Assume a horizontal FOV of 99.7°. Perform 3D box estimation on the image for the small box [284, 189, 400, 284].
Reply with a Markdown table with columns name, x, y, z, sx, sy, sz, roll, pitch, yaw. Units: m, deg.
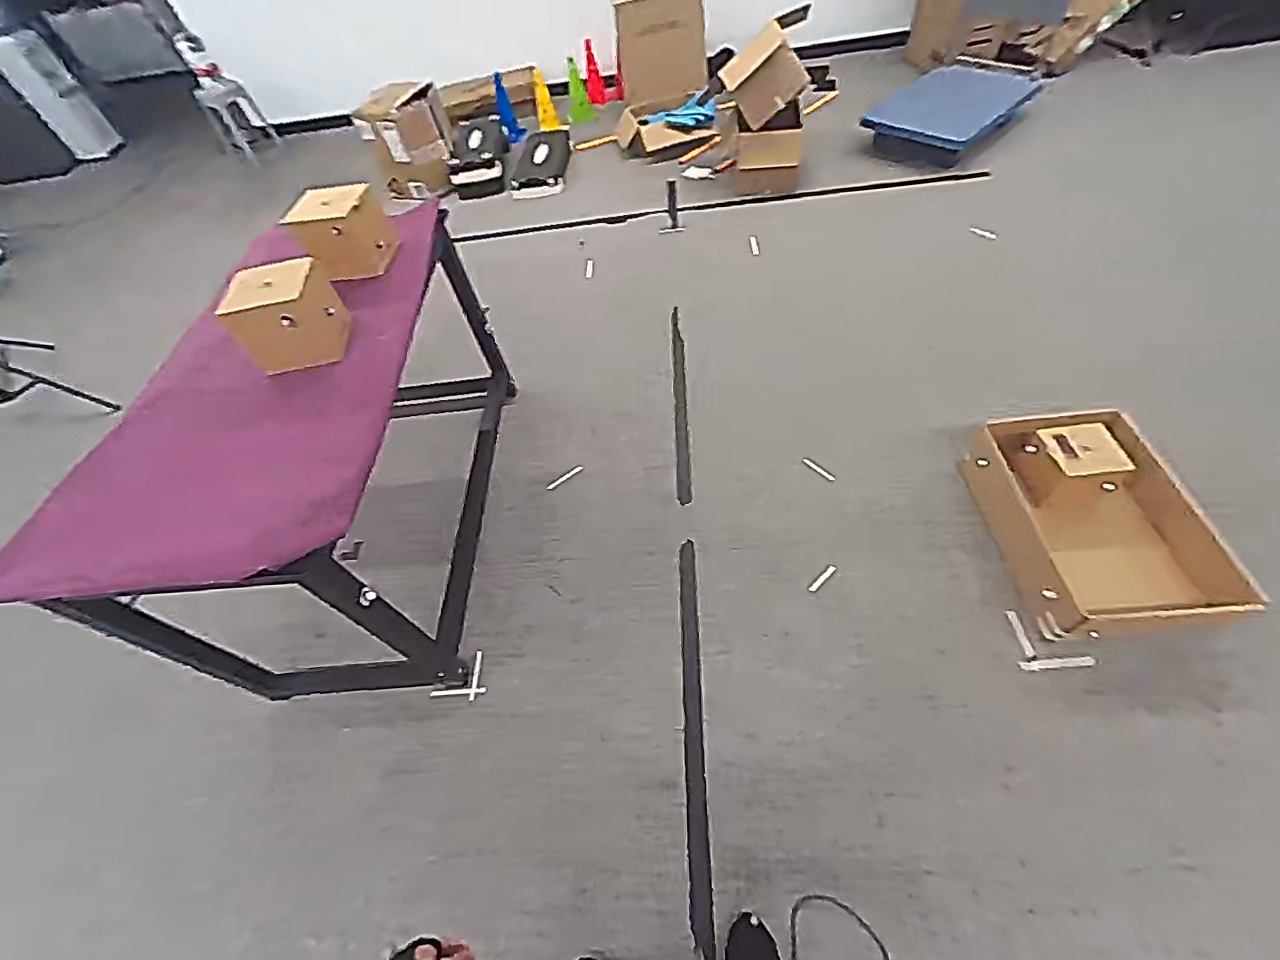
| name | x | y | z | sx | sy | sz | roll | pitch | yaw |
| --- | --- | --- | --- | --- | --- | --- | --- | --- | --- |
| small box | -0.776 | -0.638 | 1.428 | 0.179 | 0.176 | 0.168 | -2 | 54 | 9 |

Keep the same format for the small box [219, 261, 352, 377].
| name | x | y | z | sx | sy | sz | roll | pitch | yaw |
| --- | --- | --- | --- | --- | --- | --- | --- | --- | --- |
| small box | -0.786 | -0.360 | 1.223 | 0.179 | 0.176 | 0.168 | -12 | 52 | 0 |
